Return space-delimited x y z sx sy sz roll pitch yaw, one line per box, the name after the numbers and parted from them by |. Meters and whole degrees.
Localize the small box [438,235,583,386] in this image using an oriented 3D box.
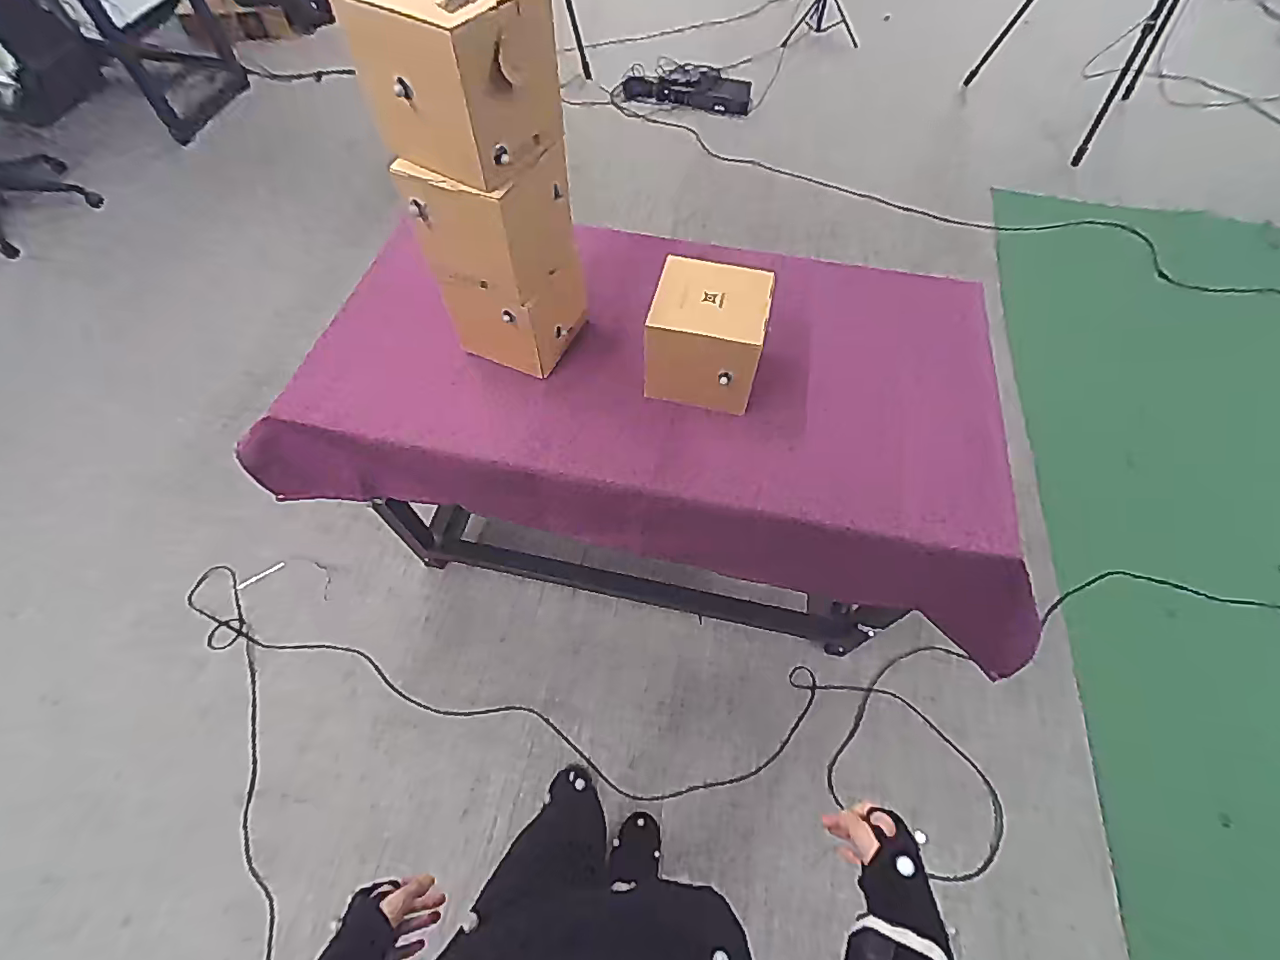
-0.215 -0.293 0.953 0.179 0.176 0.168 21 60 11 | small box

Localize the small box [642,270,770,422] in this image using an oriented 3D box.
0.107 -0.219 0.910 0.179 0.176 0.168 12 58 7 | small box

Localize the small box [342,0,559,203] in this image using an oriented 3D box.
-0.220 -0.482 0.683 0.179 0.176 0.168 27 61 15 | small box
